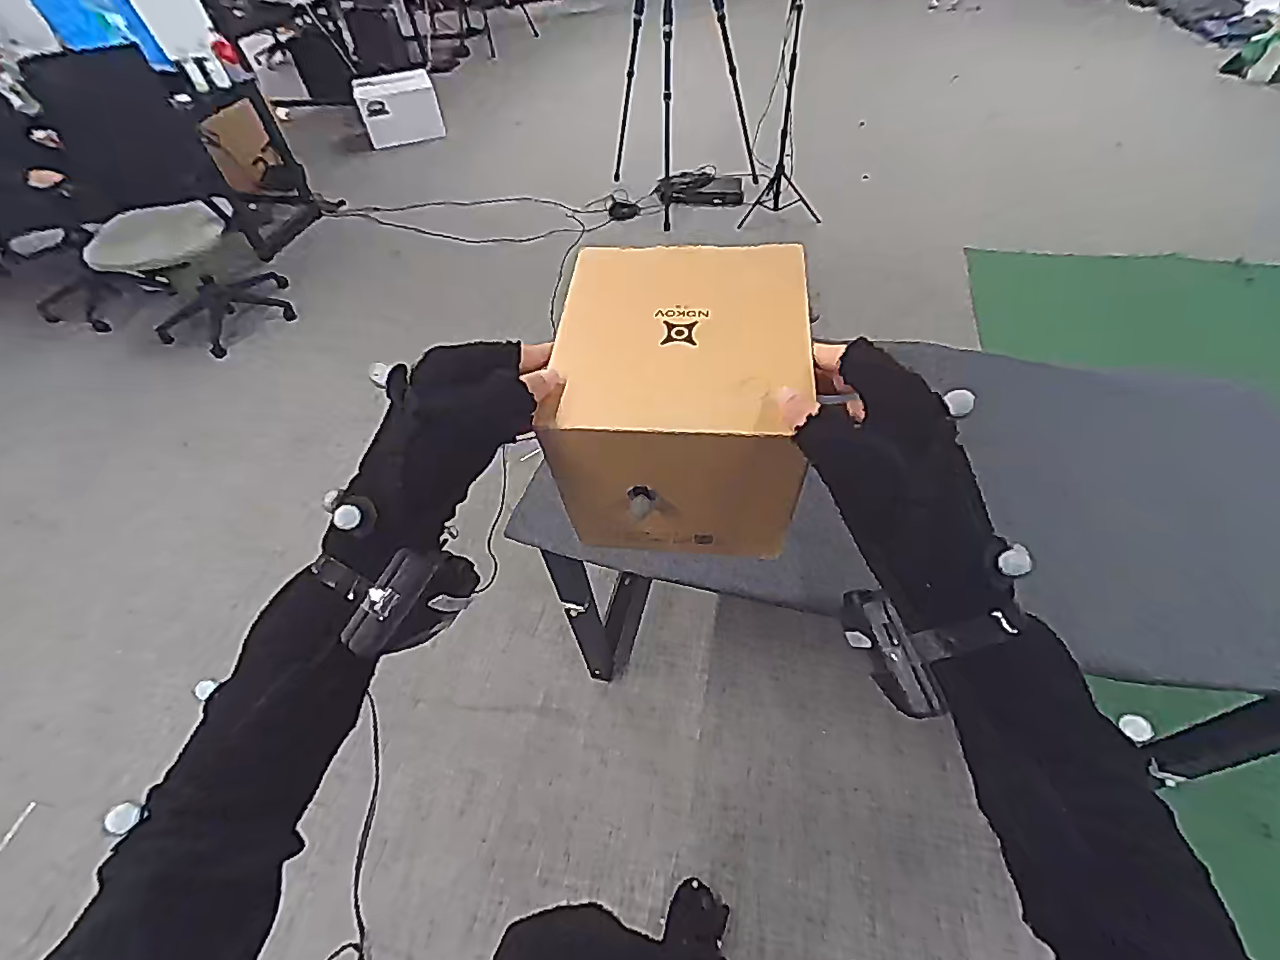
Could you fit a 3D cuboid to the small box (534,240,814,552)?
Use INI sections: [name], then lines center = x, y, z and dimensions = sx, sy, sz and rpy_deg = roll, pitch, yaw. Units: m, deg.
[small box]
center = 0.034, -0.057, 0.417
dimensions = 0.168, 0.176, 0.179
rpy_deg = 2, 57, 8
